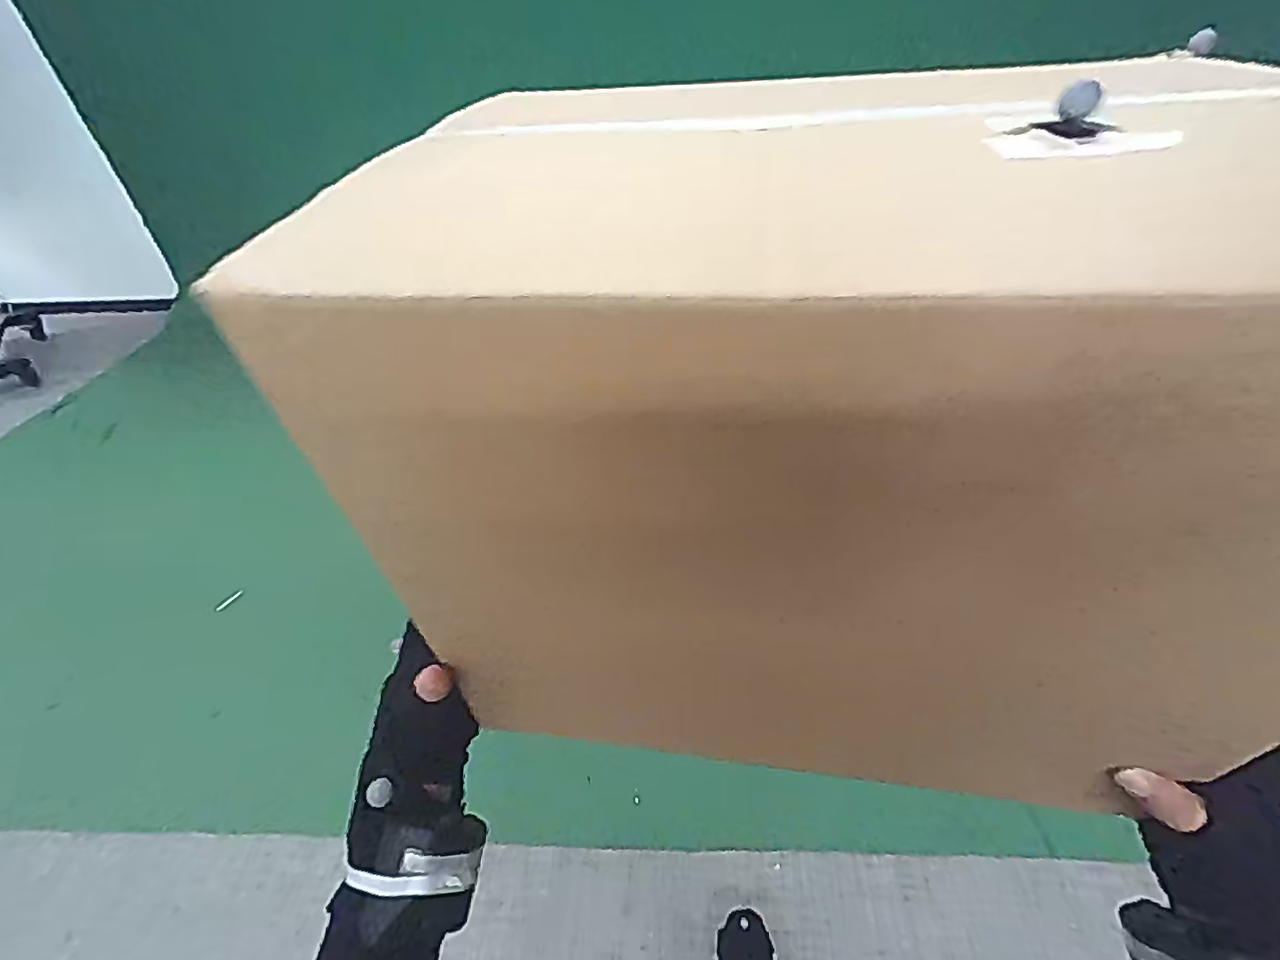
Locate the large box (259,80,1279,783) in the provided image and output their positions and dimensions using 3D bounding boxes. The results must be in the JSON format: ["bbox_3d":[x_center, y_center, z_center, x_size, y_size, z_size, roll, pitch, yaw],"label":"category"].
[{"bbox_3d":[0.102,-0.040,0.348,0.408,0.320,0.320,4,45,8],"label":"large box"}]
